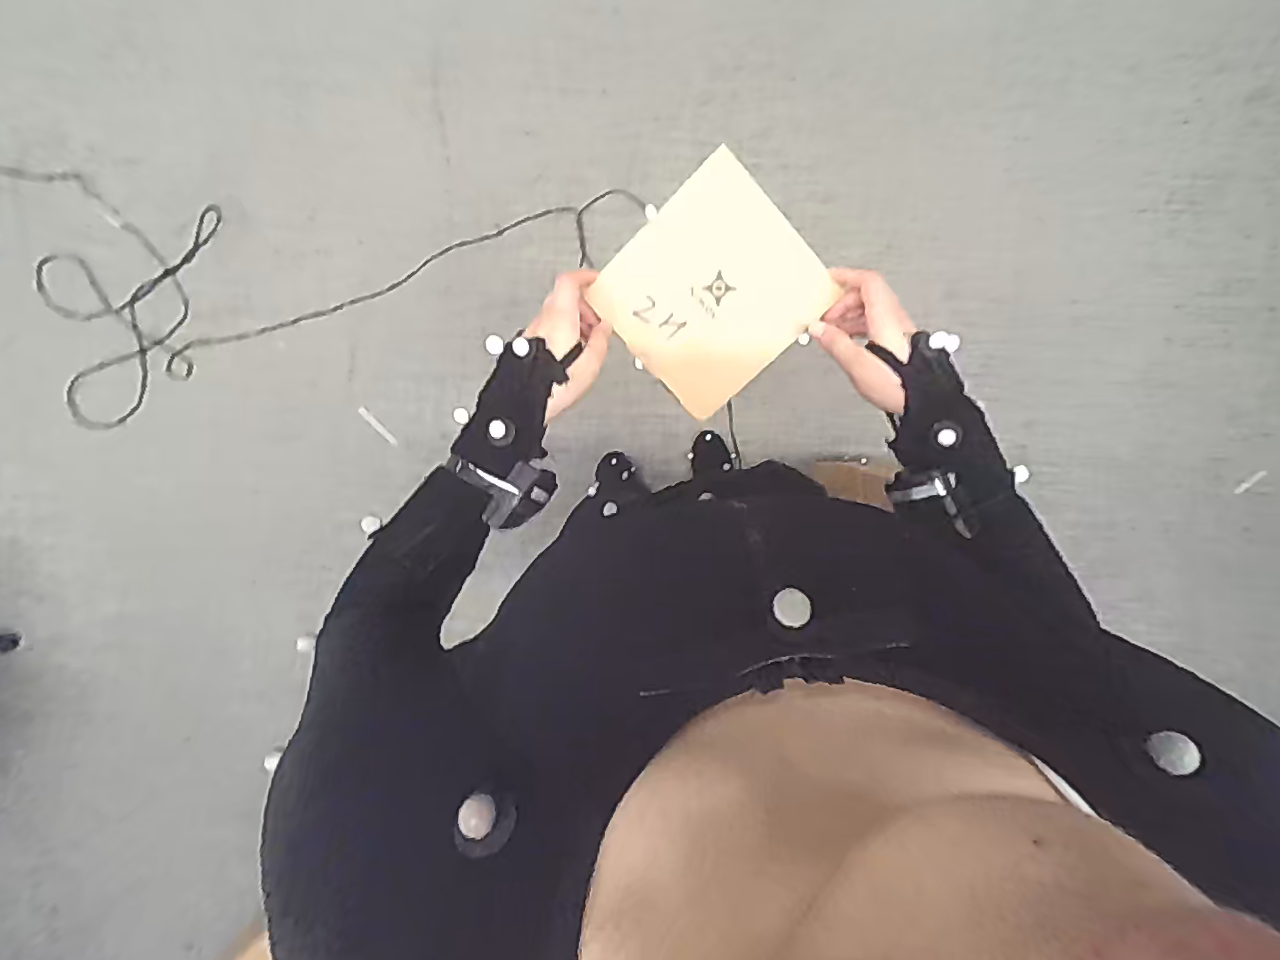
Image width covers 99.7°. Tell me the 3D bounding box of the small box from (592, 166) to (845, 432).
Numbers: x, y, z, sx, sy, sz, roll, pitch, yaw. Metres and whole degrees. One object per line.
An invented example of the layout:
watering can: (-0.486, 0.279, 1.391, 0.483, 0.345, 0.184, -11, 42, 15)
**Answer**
small box: (0.074, -0.180, 0.570, 0.179, 0.176, 0.168, -42, 99, 14)

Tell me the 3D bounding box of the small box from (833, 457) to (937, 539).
small box: (0.559, 0.036, 1.256, 0.179, 0.176, 0.168, -4, 97, -1)

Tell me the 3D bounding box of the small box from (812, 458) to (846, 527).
small box: (0.560, 0.031, 1.419, 0.179, 0.176, 0.168, -1, 96, 0)
